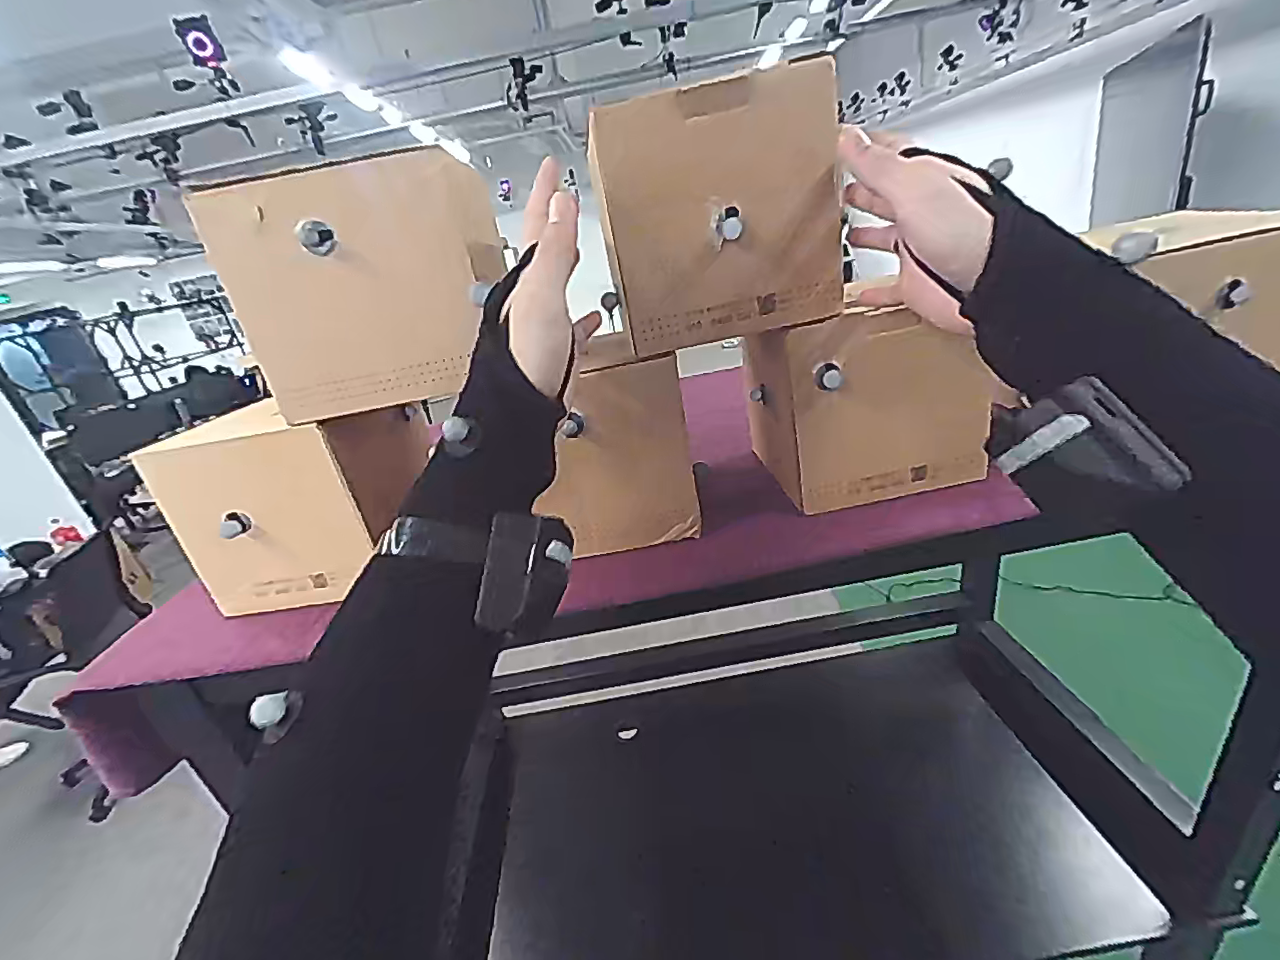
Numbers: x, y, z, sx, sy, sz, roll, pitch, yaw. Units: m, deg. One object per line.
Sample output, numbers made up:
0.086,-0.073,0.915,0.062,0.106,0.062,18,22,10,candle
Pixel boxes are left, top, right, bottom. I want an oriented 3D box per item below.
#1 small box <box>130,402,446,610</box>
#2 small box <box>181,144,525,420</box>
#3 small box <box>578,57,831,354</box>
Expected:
-0.316,0.013,0.535,0.168,0.176,0.179,-10,22,5,small box
-0.213,-0.159,0.461,0.179,0.176,0.168,-11,23,0,small box
0.048,-0.213,0.456,0.168,0.176,0.179,-13,24,-1,small box
